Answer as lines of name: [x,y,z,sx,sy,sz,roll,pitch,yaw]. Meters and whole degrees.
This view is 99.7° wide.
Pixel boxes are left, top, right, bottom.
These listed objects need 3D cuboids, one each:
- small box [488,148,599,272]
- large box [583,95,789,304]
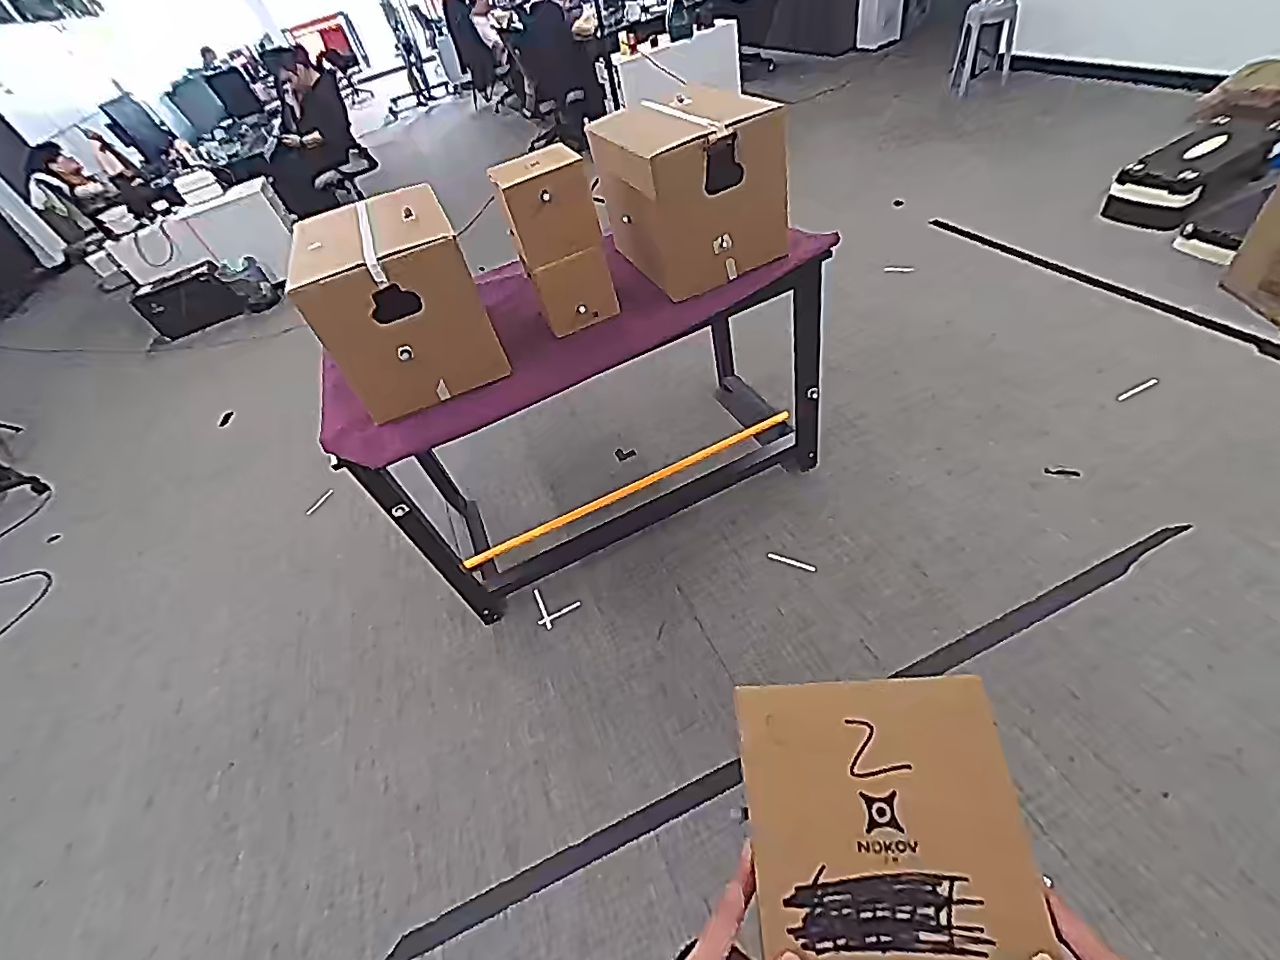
small box: [-0.199,-0.579,1.163,0.179,0.176,0.168,-26,46,-6]
large box: [0.110,-0.681,1.300,0.320,0.320,0.408,-25,45,-8]
